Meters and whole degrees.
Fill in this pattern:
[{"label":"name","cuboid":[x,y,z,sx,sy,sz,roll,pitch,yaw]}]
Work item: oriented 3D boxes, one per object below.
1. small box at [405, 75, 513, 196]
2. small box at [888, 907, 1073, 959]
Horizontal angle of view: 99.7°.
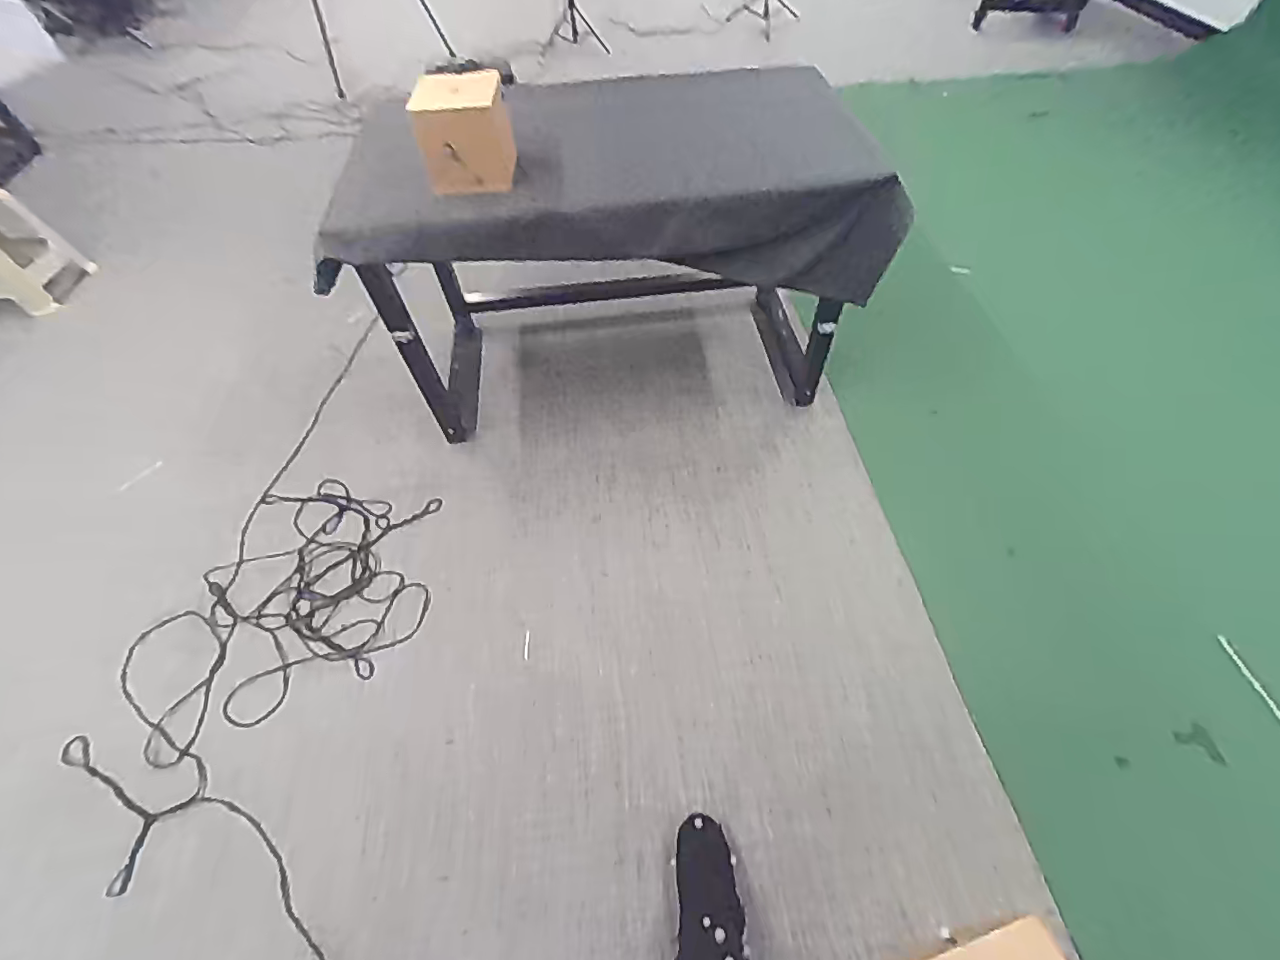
[{"label":"small box","cuboid":[-0.372,-0.723,1.146,0.168,0.176,0.179,-4,54,-1]},{"label":"small box","cuboid":[0.329,0.542,0.511,0.179,0.176,0.168,-14,46,-12]}]
